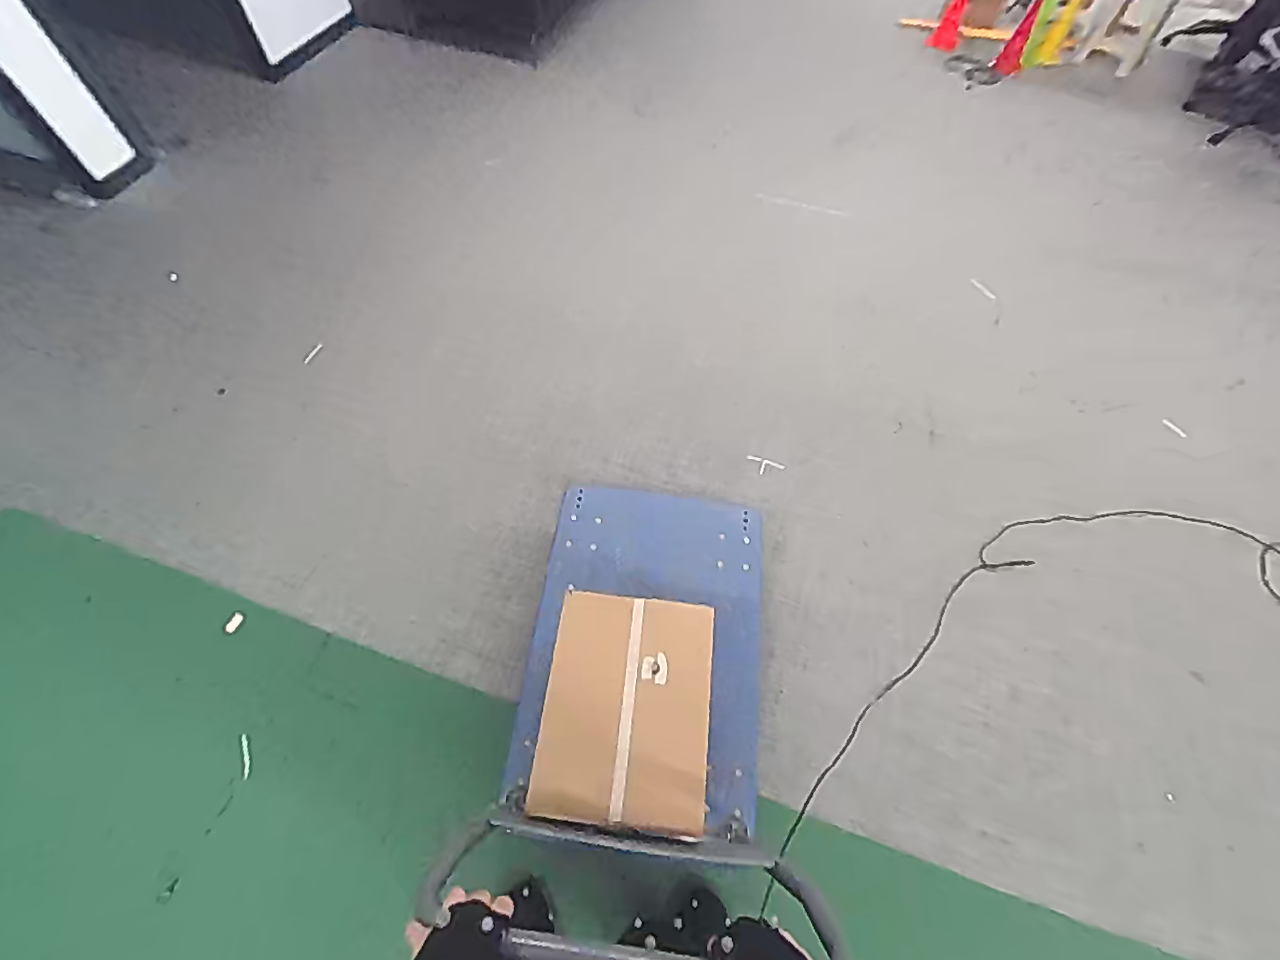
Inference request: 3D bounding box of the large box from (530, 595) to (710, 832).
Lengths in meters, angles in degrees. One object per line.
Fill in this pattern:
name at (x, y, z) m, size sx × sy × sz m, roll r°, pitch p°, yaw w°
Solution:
large box at (-0.029, 0.505, 1.170) m, size 0.320 × 0.320 × 0.408 m, roll 7°, pitch 60°, yaw 1°
